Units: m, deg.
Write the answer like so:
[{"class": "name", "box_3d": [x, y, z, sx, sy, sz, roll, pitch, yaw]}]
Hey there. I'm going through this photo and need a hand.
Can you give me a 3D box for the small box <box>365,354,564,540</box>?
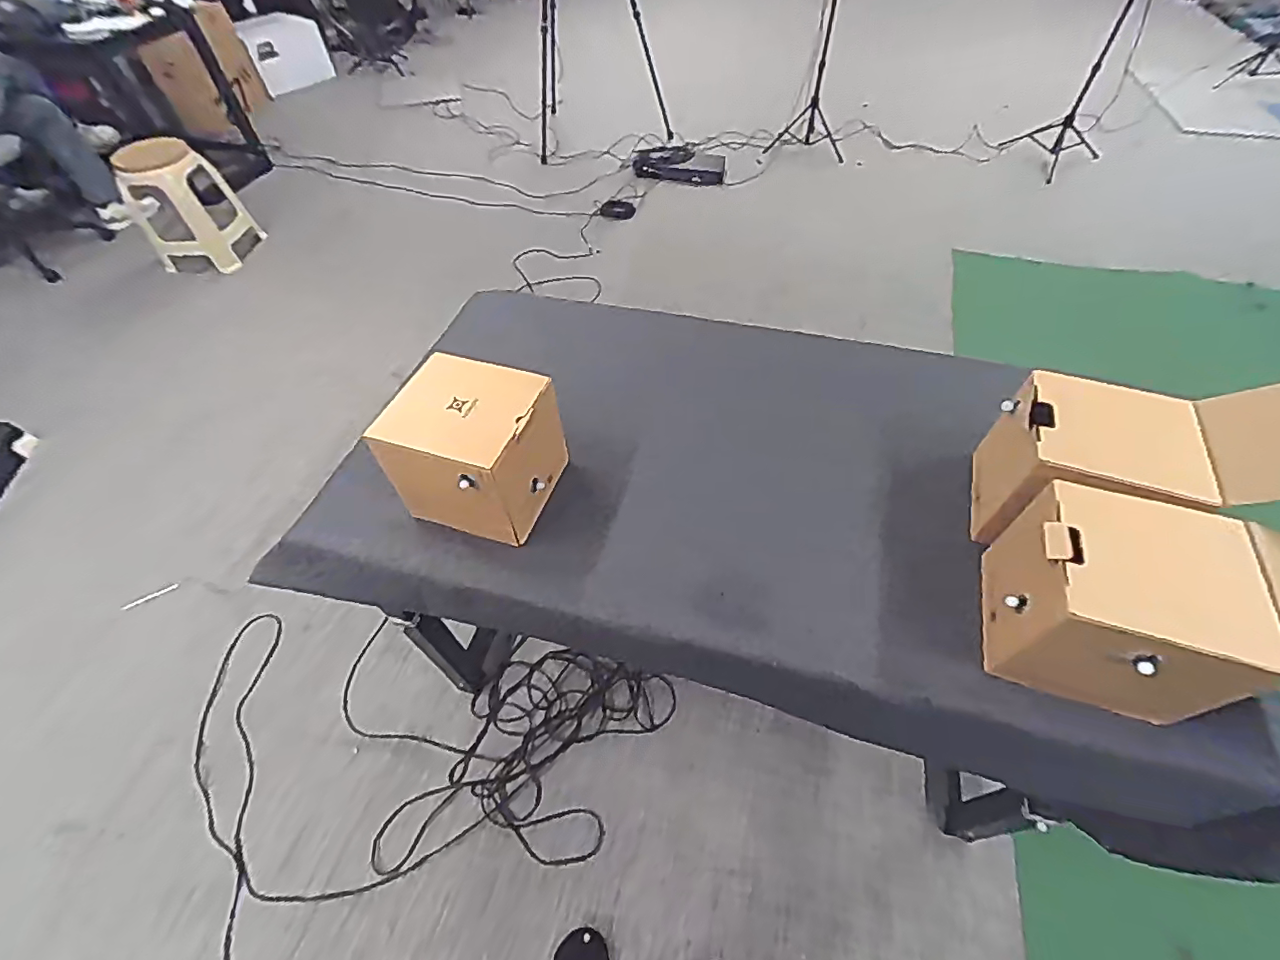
[{"class": "small box", "box_3d": [-0.220, -0.041, 0.730, 0.179, 0.176, 0.168, 14, 53, 12]}]
